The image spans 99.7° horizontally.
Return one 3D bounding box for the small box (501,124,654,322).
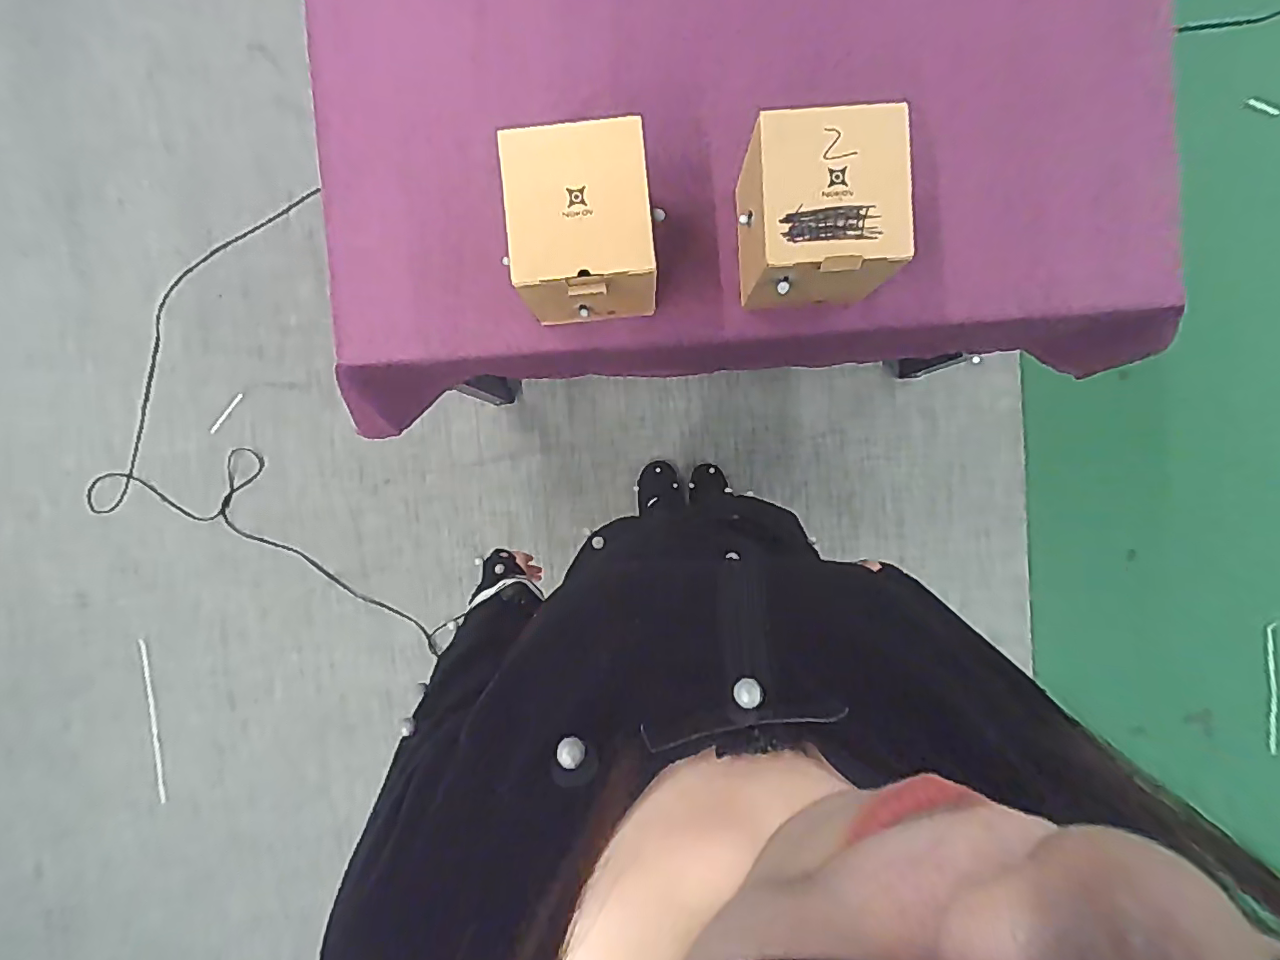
[{"bbox_3d":[-0.073,-0.320,0.704,0.168,0.176,0.179,-6,92,1],"label":"small box"}]
